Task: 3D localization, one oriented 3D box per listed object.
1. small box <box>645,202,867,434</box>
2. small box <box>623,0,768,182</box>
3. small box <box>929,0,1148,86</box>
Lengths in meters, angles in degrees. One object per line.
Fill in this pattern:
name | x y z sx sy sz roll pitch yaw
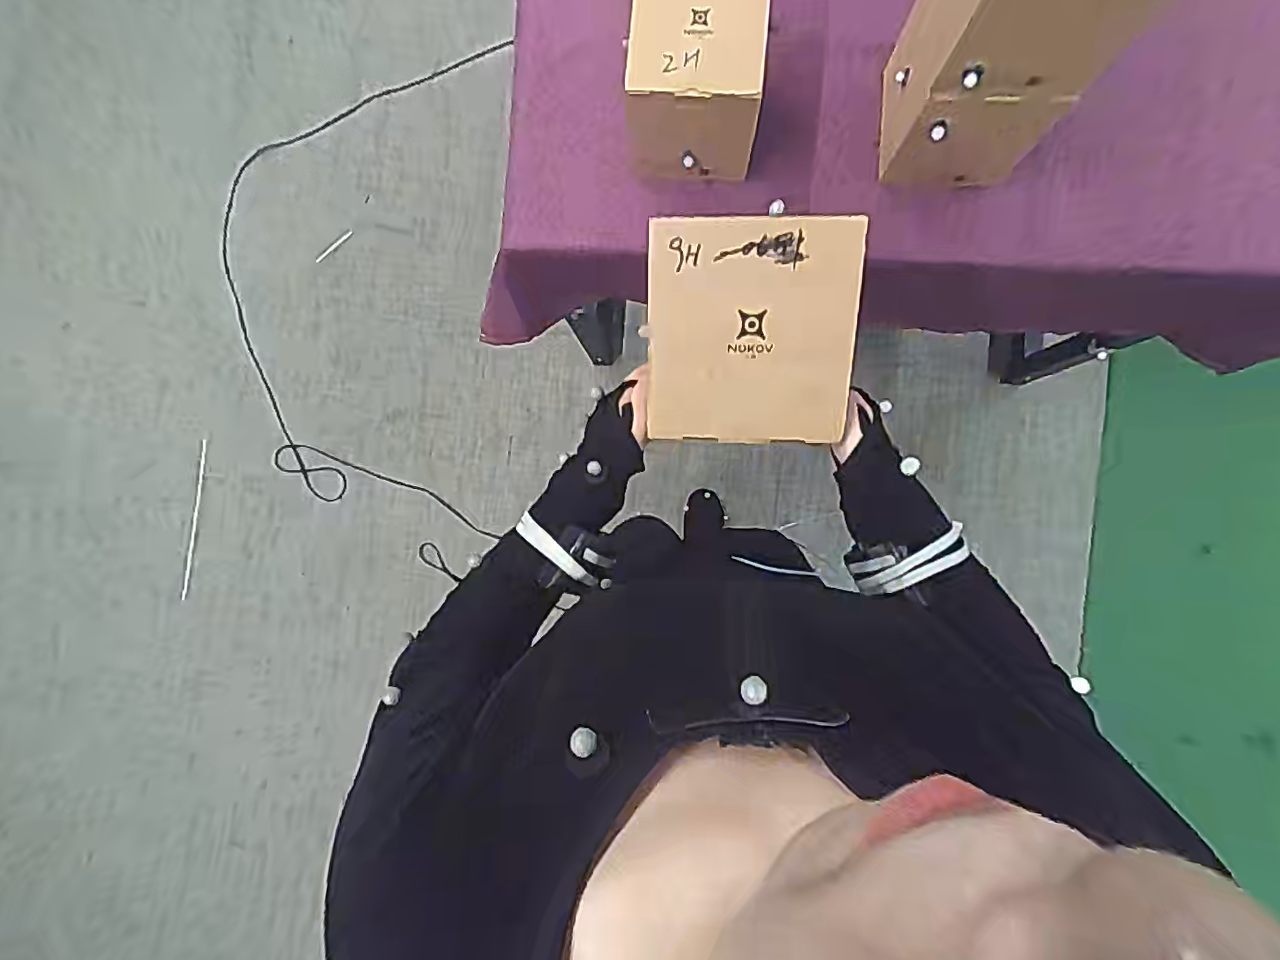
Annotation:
small box | 0.093 -0.147 0.503 0.168 0.176 0.179 1 108 4
small box | 0.074 -0.538 0.725 0.168 0.176 0.179 5 87 5
small box | 0.407 -0.531 0.534 0.168 0.176 0.179 3 86 4
